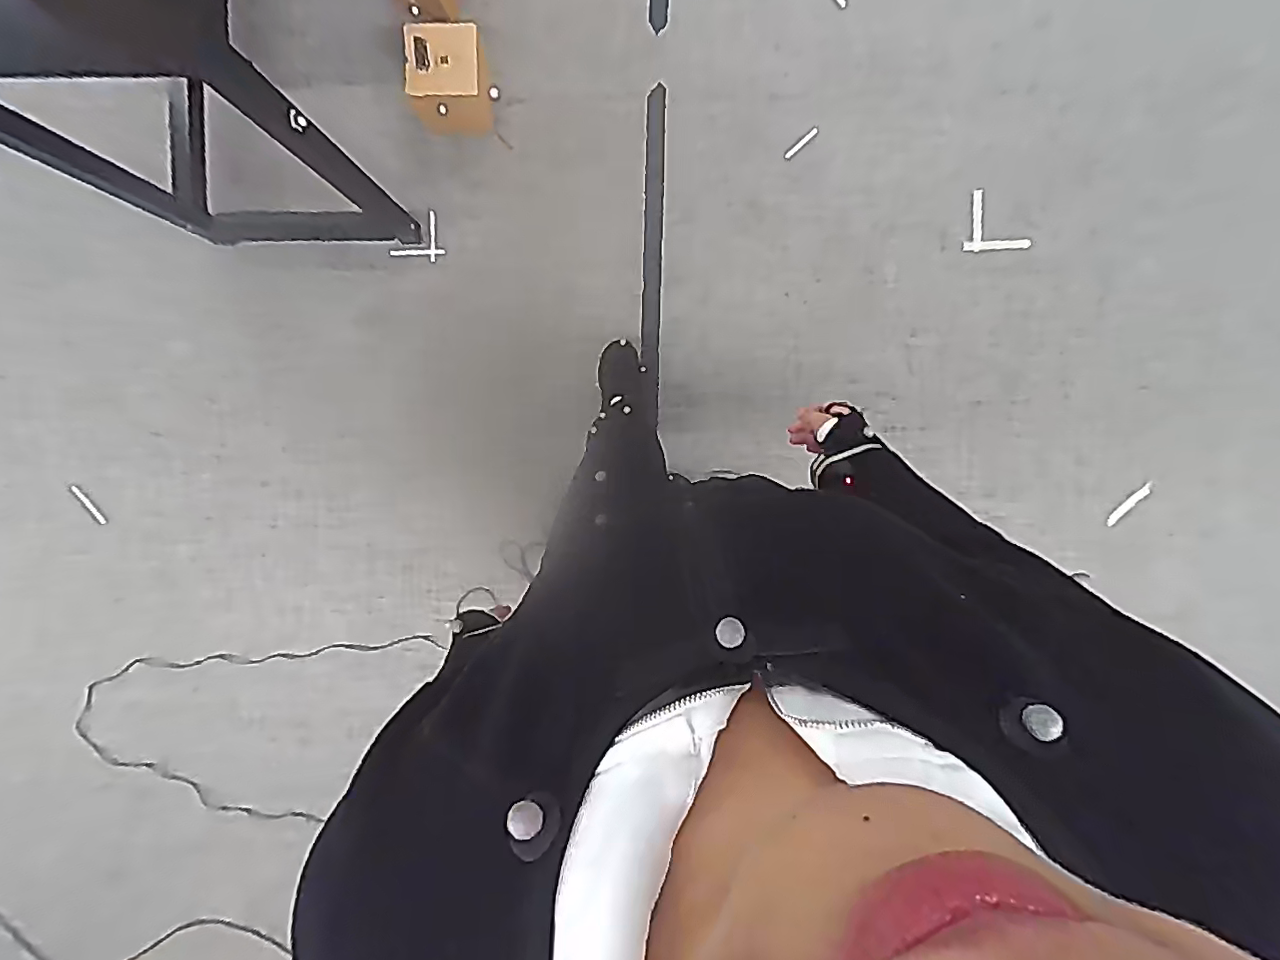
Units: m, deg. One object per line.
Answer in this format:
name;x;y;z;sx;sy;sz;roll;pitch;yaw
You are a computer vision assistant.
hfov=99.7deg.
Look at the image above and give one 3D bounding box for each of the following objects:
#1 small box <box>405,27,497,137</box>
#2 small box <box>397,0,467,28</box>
small box;-0.474;-1.000;1.372;0.179;0.176;0.168;0;94;0
small box;-0.537;-1.294;1.356;0.168;0.176;0.179;22;95;1
